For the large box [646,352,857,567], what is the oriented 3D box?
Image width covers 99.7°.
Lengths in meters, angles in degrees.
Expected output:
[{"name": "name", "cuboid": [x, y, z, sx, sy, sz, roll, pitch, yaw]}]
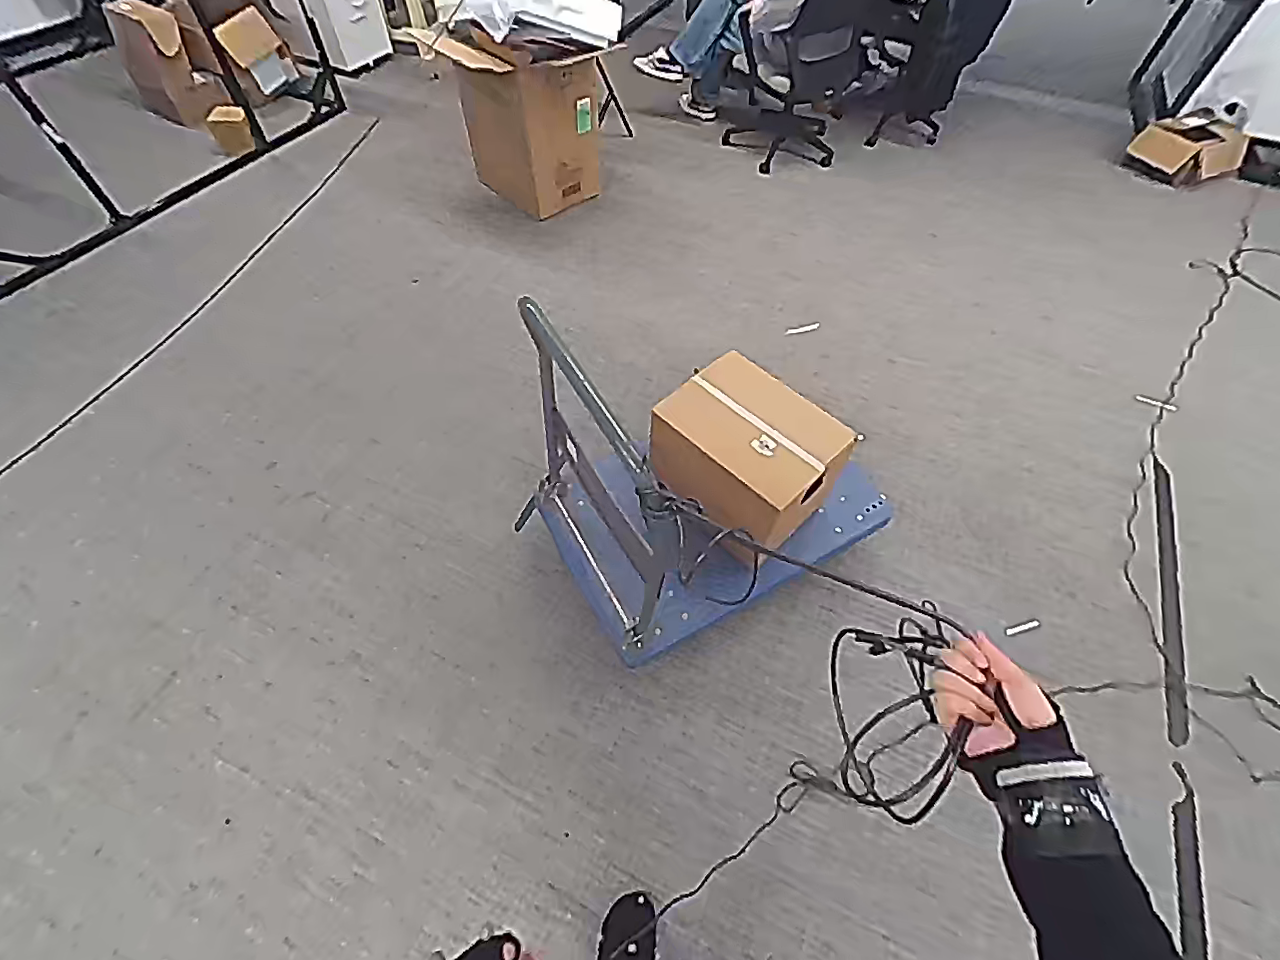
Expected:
[{"name": "large box", "cuboid": [0.264, -0.054, 1.417, 0.320, 0.320, 0.408, -39, 66, -23]}]
